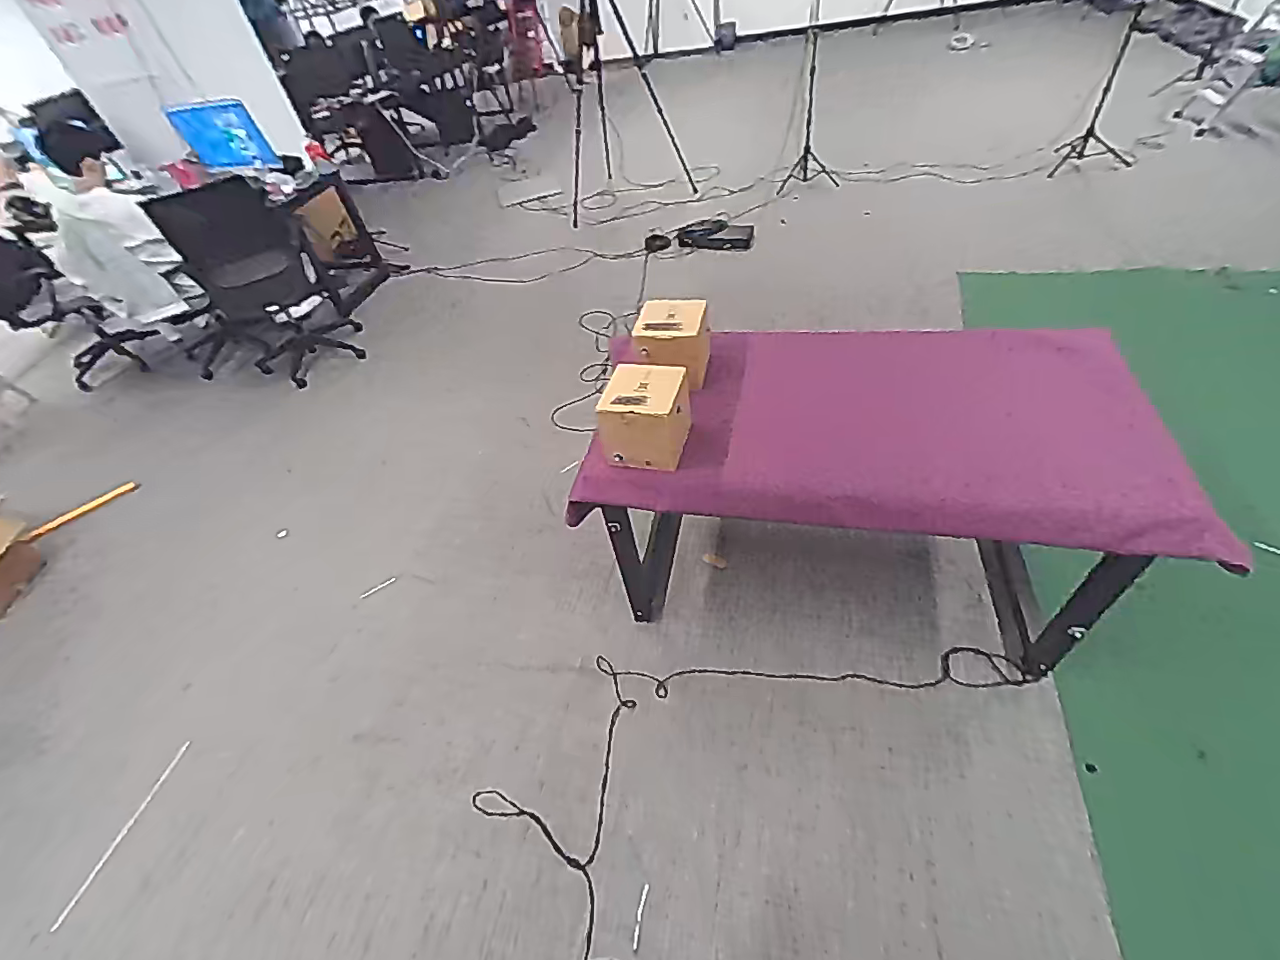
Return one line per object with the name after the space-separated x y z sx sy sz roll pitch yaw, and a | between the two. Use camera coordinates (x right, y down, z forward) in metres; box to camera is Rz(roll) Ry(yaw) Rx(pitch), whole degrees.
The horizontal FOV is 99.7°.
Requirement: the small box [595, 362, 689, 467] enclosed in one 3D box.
0.013 -0.149 1.237 0.168 0.176 0.179 7 48 16 | small box
